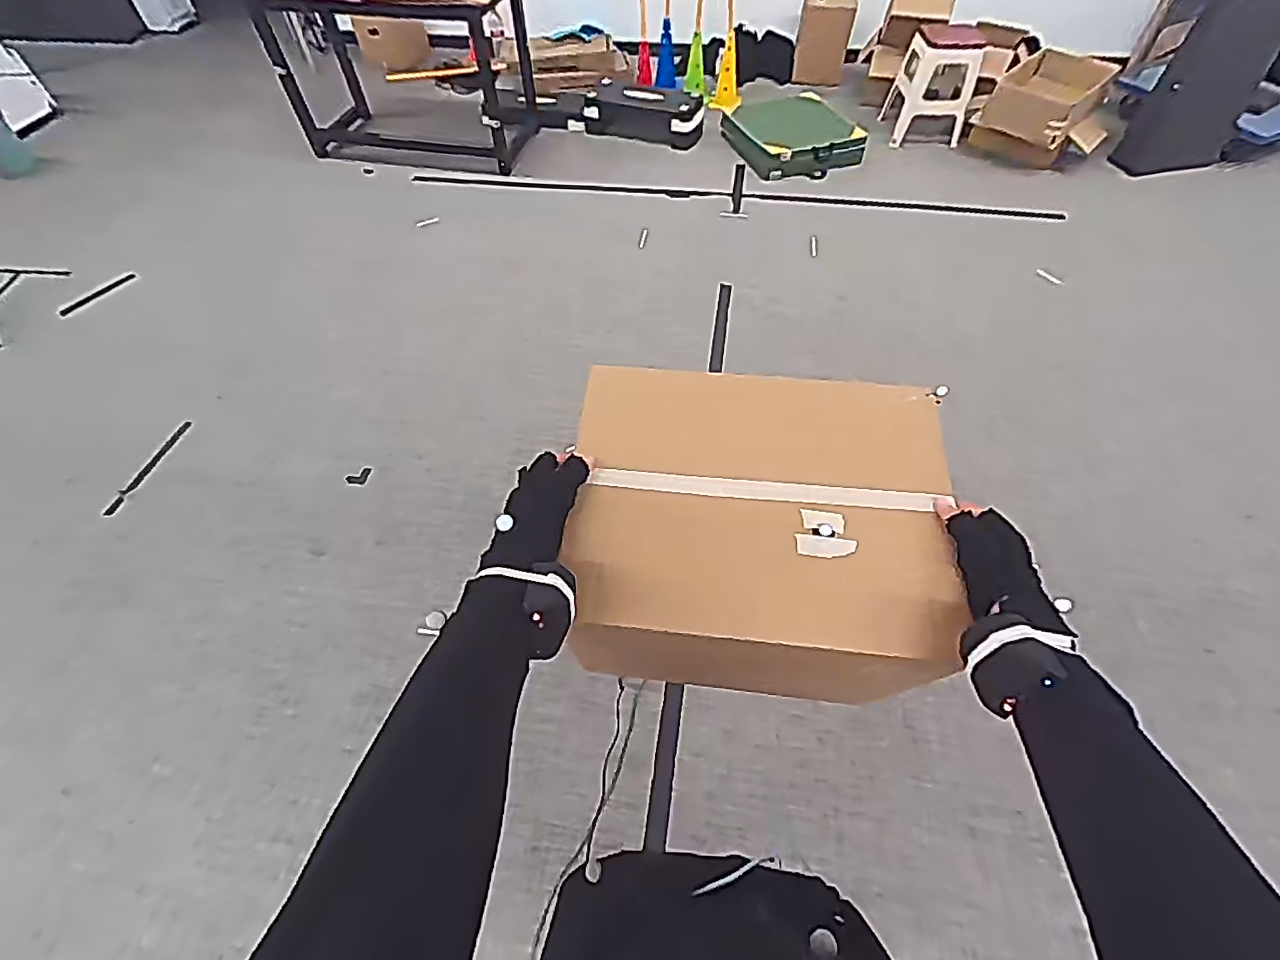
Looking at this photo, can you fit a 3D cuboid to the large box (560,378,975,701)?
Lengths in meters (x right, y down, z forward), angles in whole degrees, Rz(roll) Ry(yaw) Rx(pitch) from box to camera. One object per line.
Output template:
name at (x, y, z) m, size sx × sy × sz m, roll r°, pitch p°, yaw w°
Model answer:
large box at (0.136, 0.091, 0.717) m, size 0.408 × 0.320 × 0.320 m, roll 5°, pitch 63°, yaw 5°
